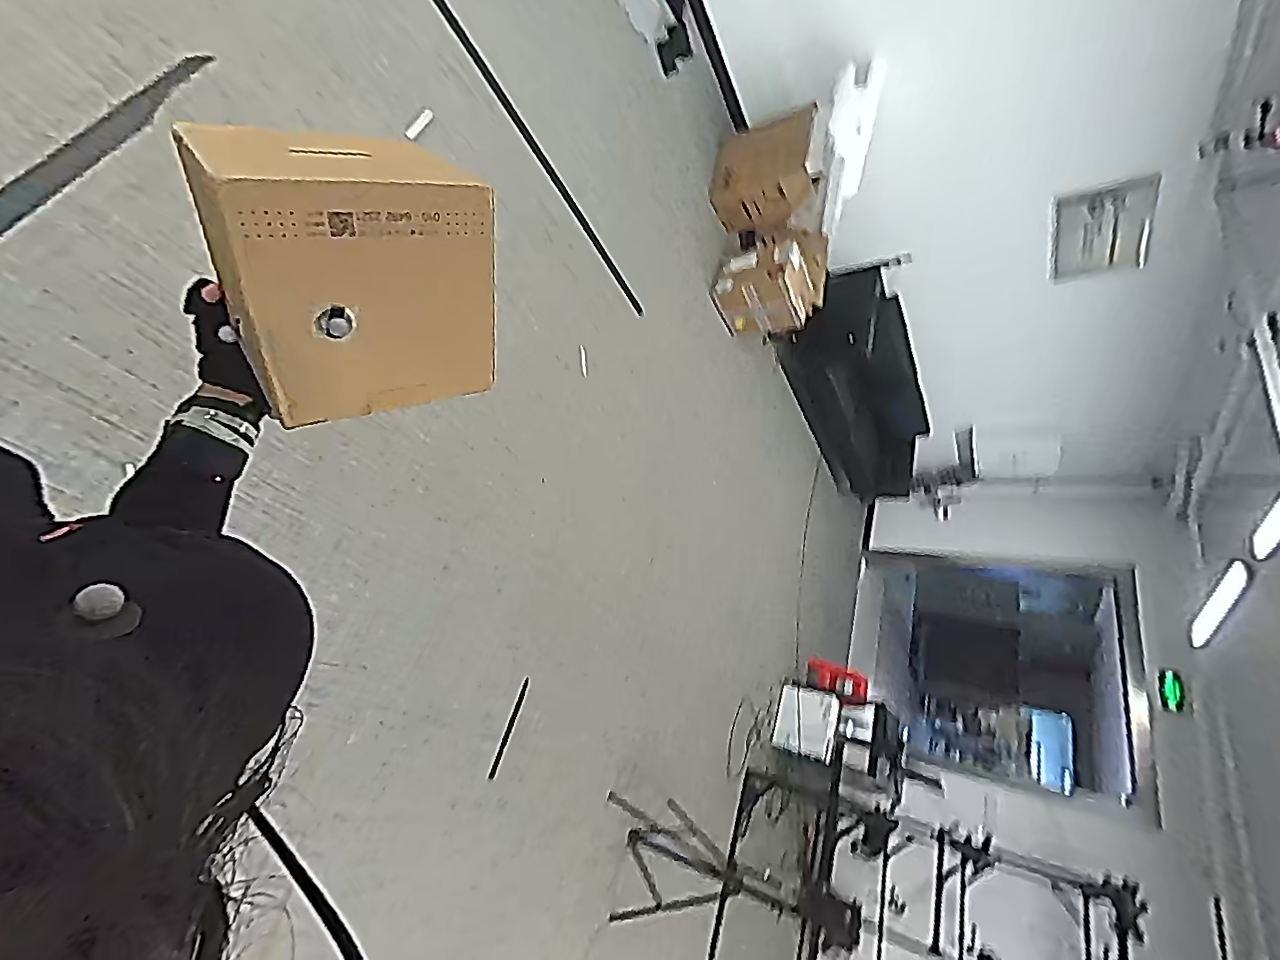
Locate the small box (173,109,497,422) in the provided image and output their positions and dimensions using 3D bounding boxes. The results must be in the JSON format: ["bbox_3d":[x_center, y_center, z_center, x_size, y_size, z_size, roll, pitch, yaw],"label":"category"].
[{"bbox_3d":[-0.228,-0.174,0.423,0.168,0.179,0.176,-21,138,-37],"label":"small box"}]
